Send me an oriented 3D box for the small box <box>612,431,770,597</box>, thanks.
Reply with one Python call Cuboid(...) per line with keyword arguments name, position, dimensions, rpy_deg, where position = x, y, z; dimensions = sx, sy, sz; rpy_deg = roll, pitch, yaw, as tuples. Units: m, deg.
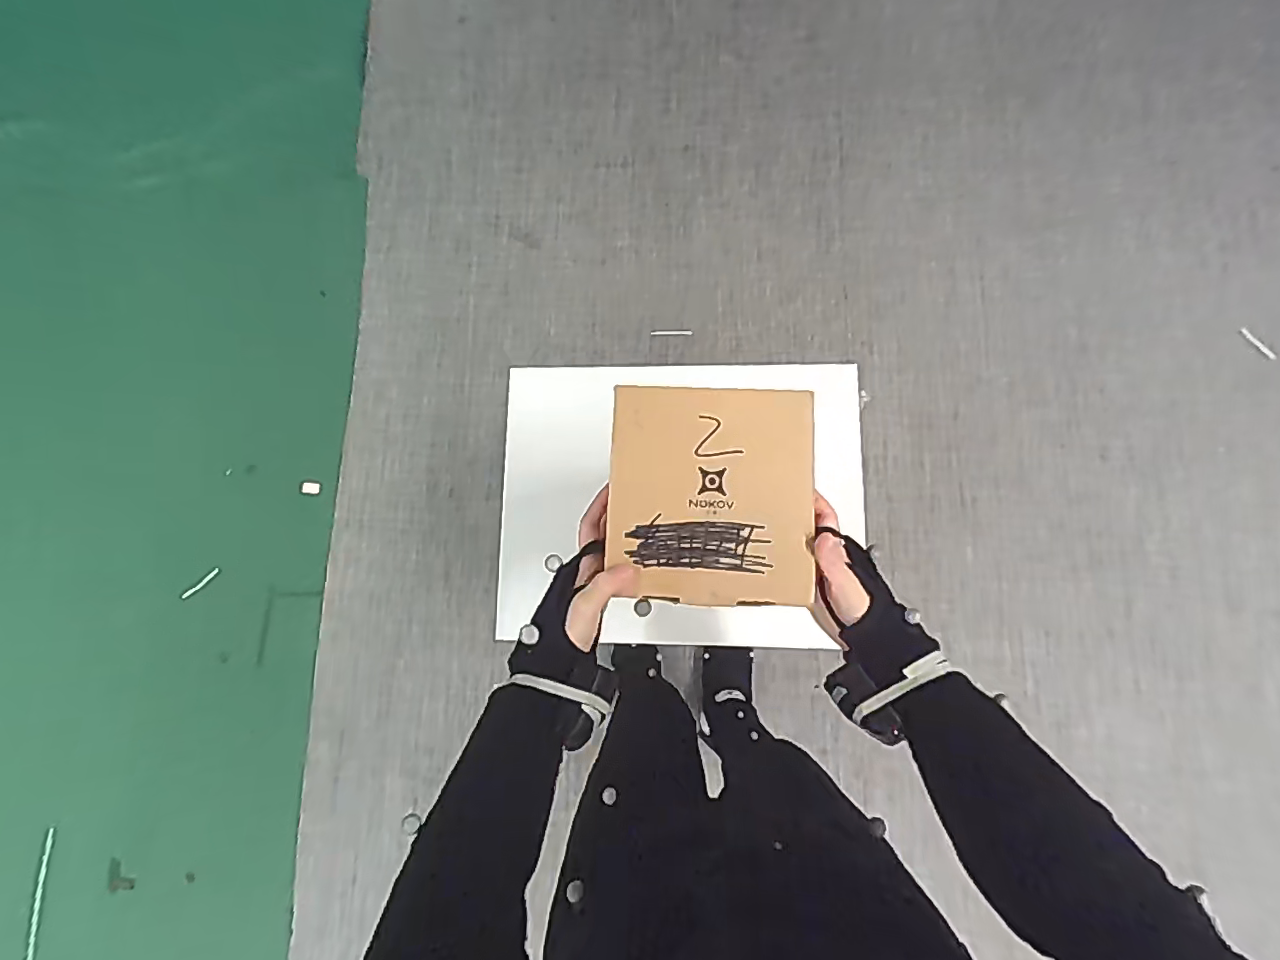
Cuboid(name="small box", position=(0.062, 0.049, 0.667), dimensions=(0.168, 0.176, 0.179), rpy_deg=(3, 80, 5))
